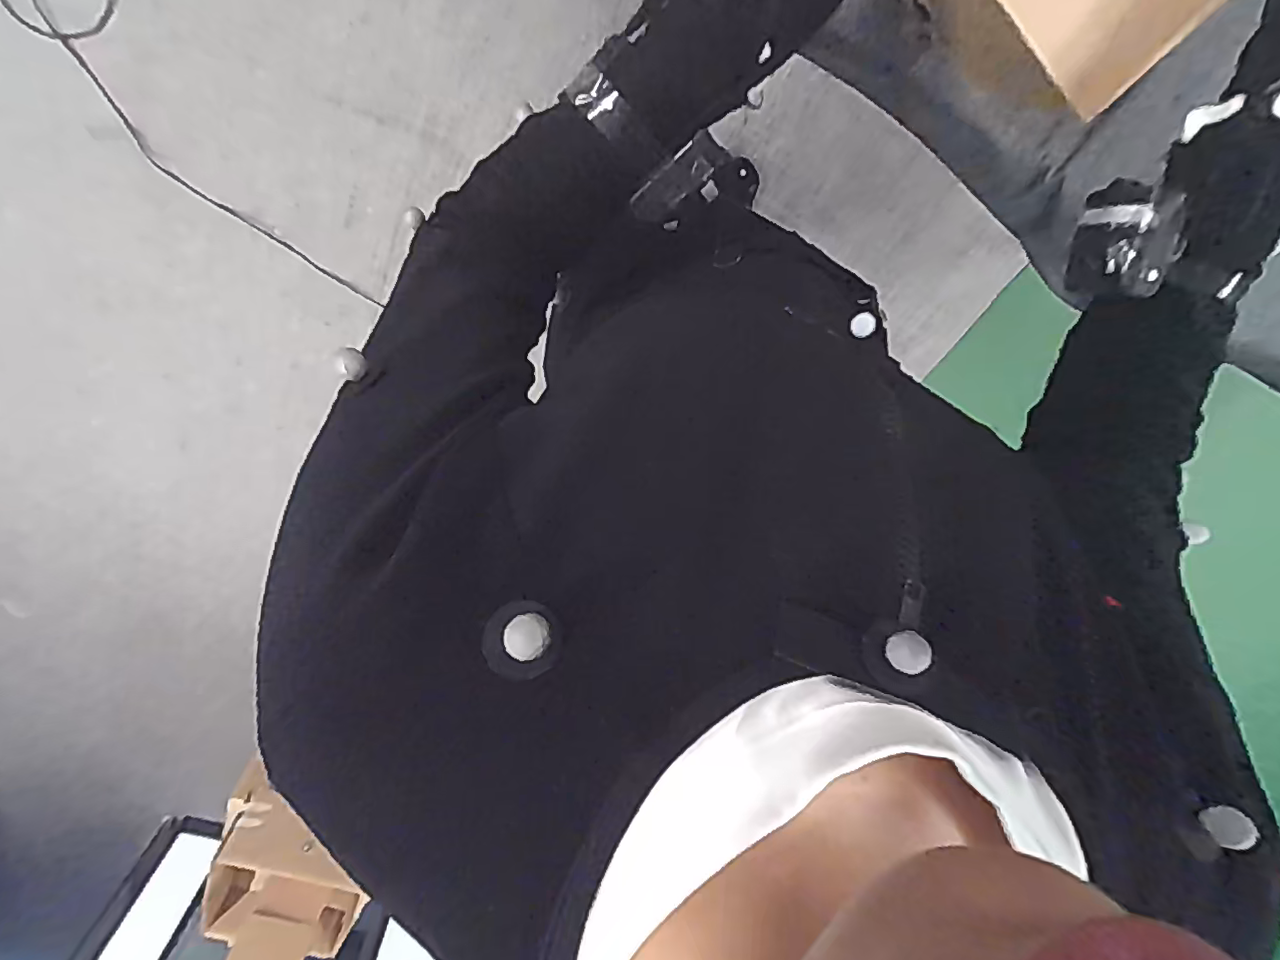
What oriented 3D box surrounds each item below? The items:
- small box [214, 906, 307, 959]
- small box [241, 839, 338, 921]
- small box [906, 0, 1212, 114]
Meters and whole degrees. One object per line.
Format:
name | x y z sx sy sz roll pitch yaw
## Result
small box | -1.029 1.272 1.442 0.179 0.176 0.168 27 122 -14
small box | -1.022 1.181 1.579 0.179 0.176 0.168 24 124 -12
small box | 0.269 -0.370 0.324 0.168 0.176 0.179 31 127 -20
